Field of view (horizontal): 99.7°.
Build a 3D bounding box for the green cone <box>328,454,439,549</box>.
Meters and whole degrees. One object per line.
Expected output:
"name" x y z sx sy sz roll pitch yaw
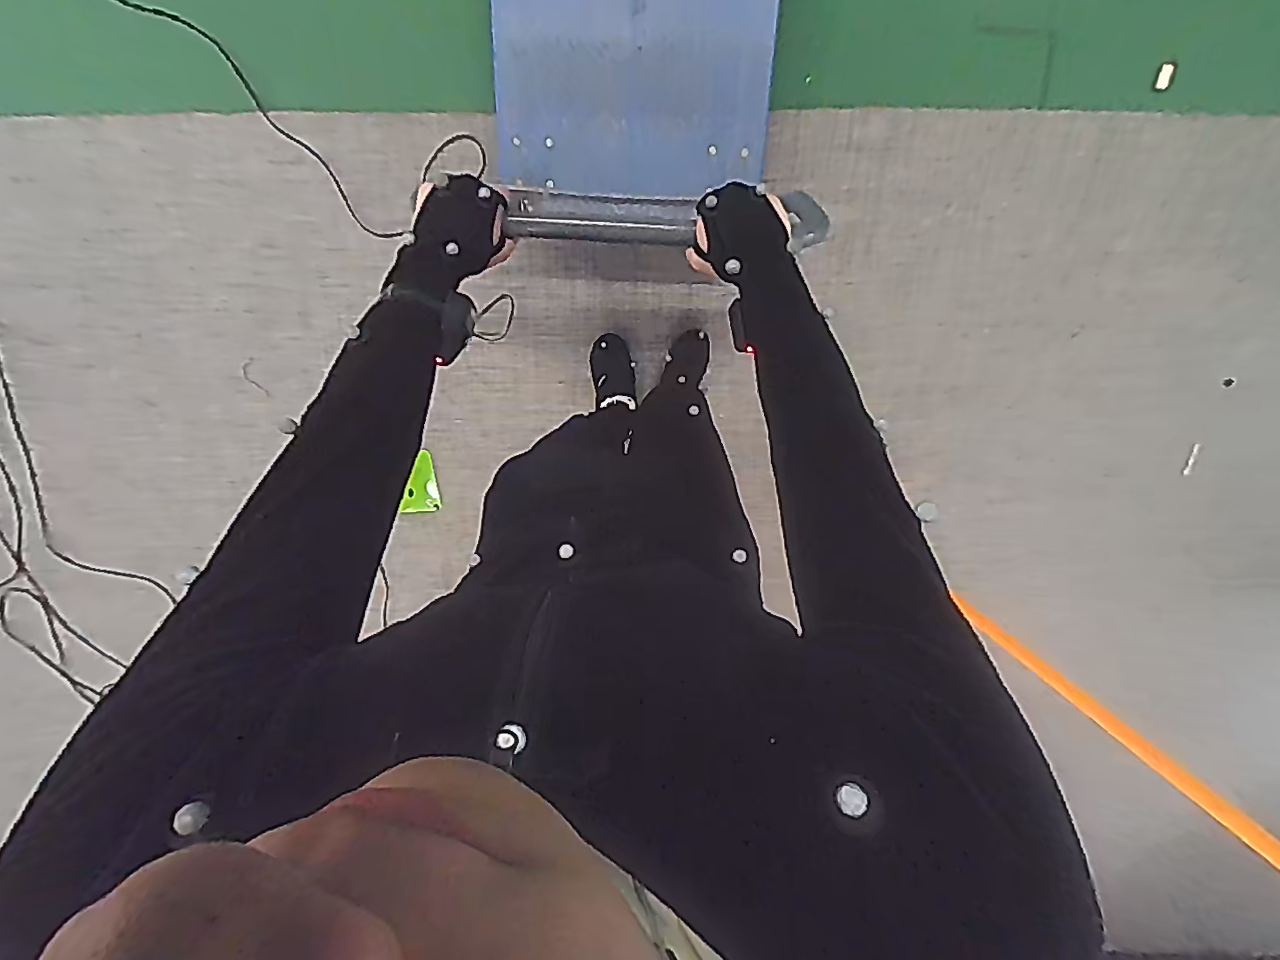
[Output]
"green cone" -0.726 0.082 1.476 0.202 0.368 0.200 -3 111 3
